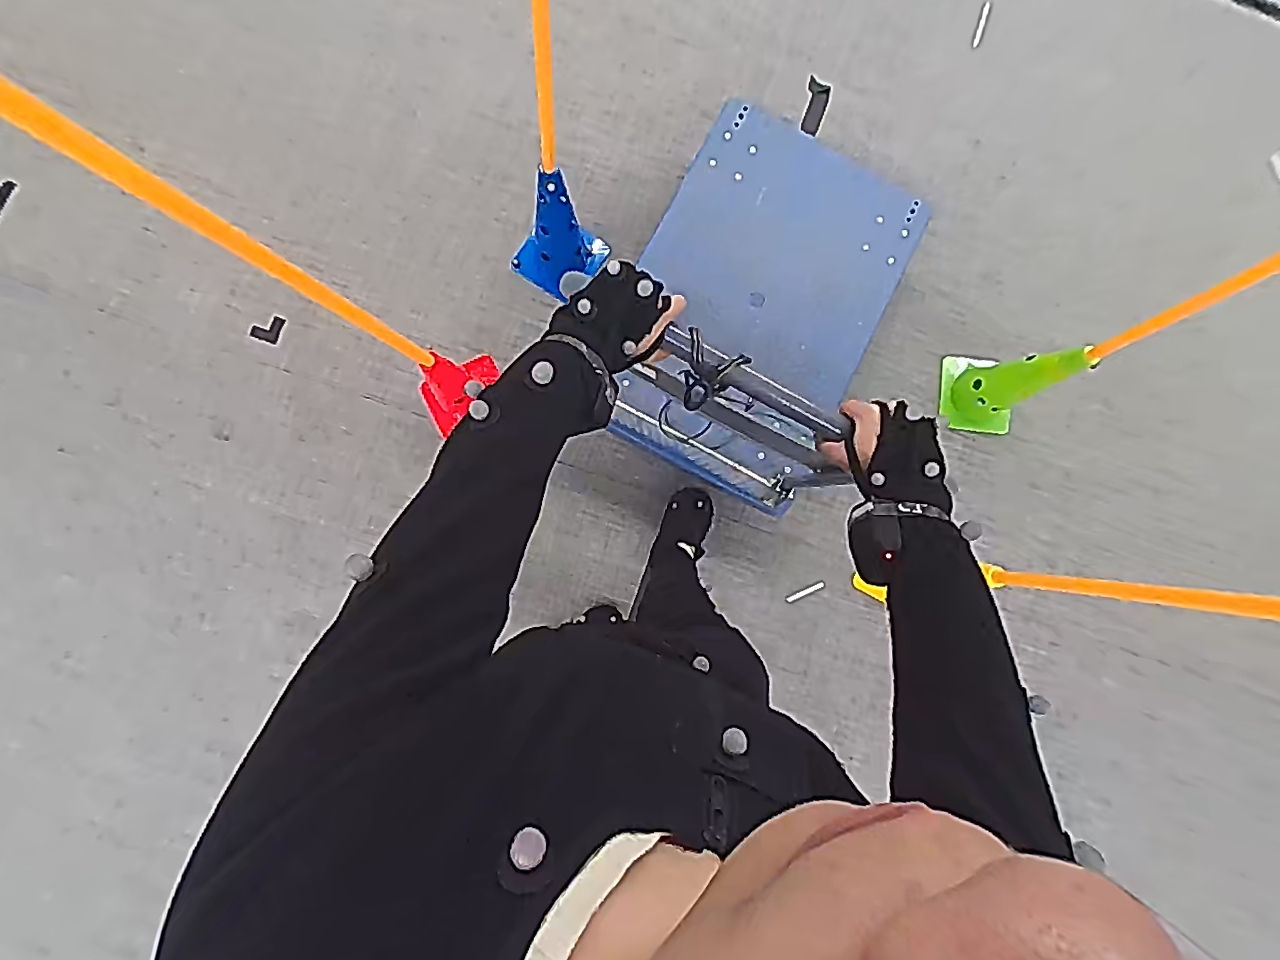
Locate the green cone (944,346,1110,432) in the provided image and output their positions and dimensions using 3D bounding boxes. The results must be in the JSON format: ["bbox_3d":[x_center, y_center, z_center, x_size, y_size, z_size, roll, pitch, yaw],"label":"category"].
[{"bbox_3d":[0.931,-0.249,1.287,0.200,0.368,0.202,6,85,-4],"label":"green cone"}]

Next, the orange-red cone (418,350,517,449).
[{"bbox_3d":[-0.413,-0.212,1.183,0.199,0.360,0.198,-25,88,-8],"label":"orange-red cone"}]

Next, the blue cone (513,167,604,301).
[{"bbox_3d":[-0.199,-0.595,1.250,0.193,0.380,0.192,34,84,-1],"label":"blue cone"}]
